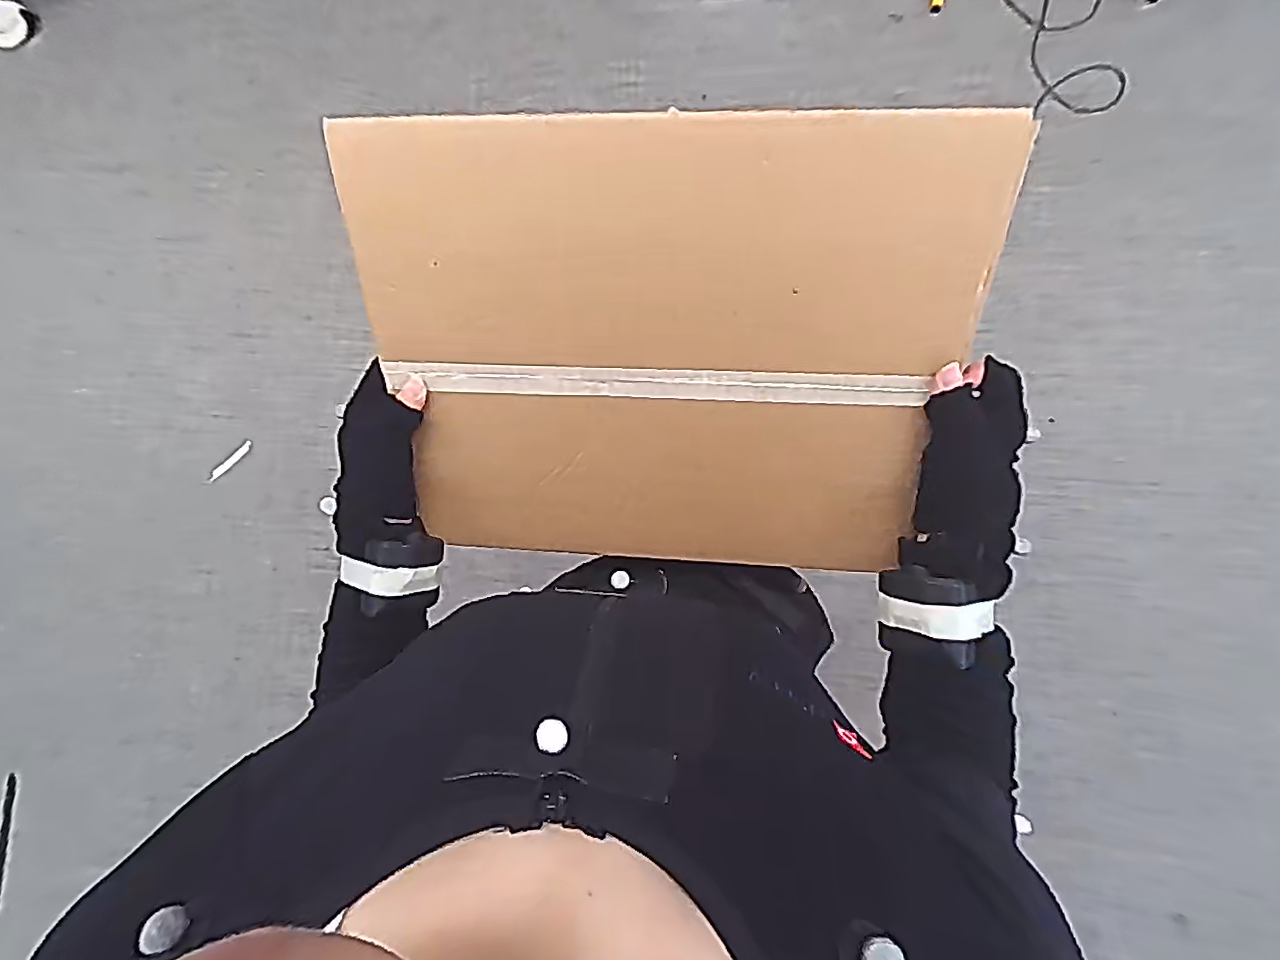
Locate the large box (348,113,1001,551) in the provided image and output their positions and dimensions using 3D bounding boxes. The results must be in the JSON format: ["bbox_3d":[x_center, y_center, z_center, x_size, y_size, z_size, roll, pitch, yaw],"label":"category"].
[{"bbox_3d":[0.029,-0.153,0.525,0.408,0.320,0.320,3,120,6],"label":"large box"}]
